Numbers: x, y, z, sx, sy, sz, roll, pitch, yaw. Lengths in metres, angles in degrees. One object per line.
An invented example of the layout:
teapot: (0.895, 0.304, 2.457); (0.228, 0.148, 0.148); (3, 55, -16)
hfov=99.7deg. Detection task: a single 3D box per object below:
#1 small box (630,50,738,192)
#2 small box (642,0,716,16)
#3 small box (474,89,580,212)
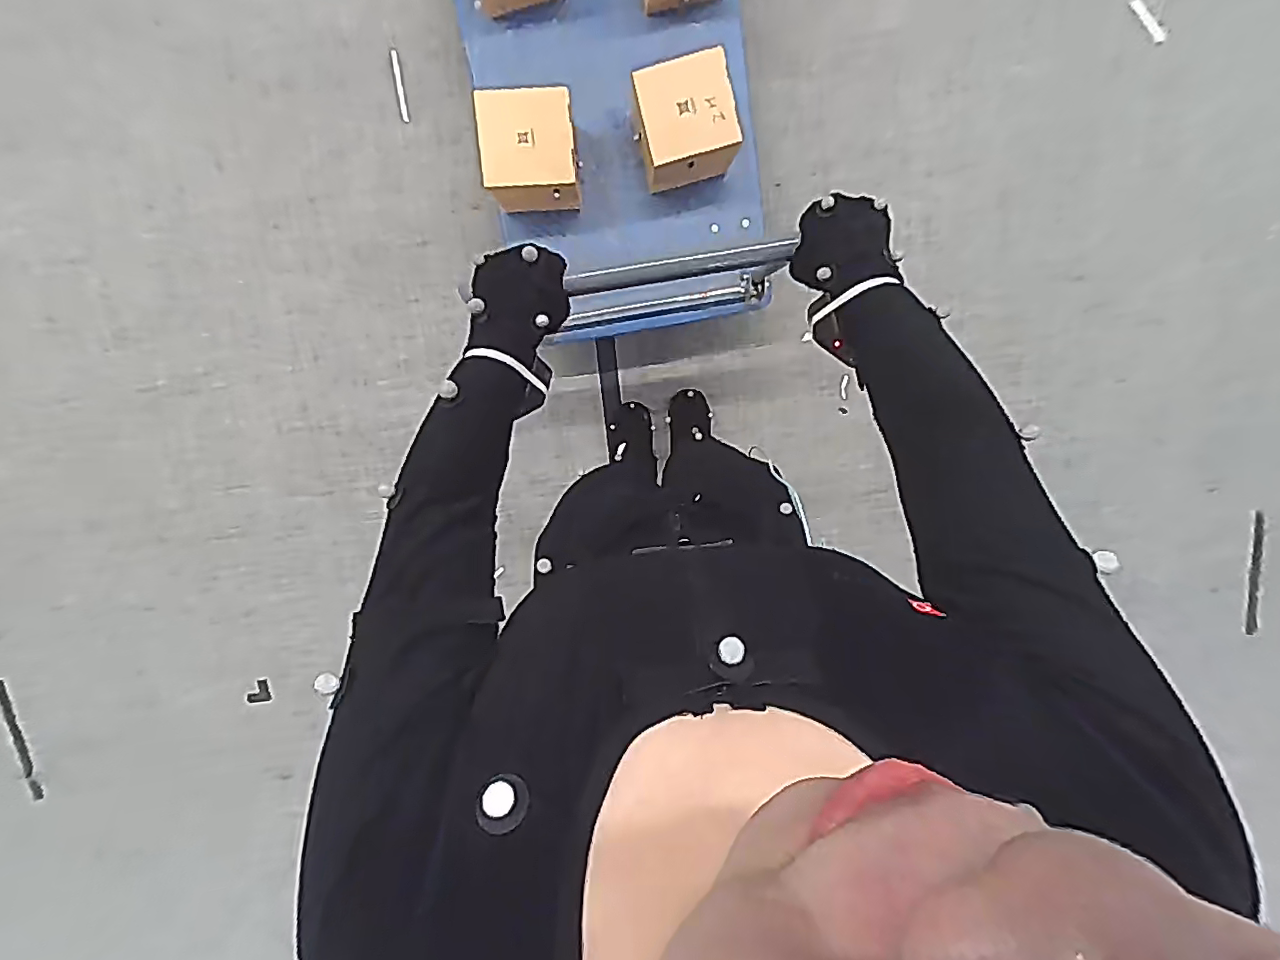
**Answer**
small box: (0.083, -0.708, 1.088); (0.179, 0.176, 0.168); (-15, 102, 1)
small box: (0.073, -1.040, 1.020); (0.168, 0.176, 0.179); (-13, 103, 1)
small box: (-0.219, -0.654, 1.091); (0.179, 0.176, 0.168); (-4, 102, -2)
